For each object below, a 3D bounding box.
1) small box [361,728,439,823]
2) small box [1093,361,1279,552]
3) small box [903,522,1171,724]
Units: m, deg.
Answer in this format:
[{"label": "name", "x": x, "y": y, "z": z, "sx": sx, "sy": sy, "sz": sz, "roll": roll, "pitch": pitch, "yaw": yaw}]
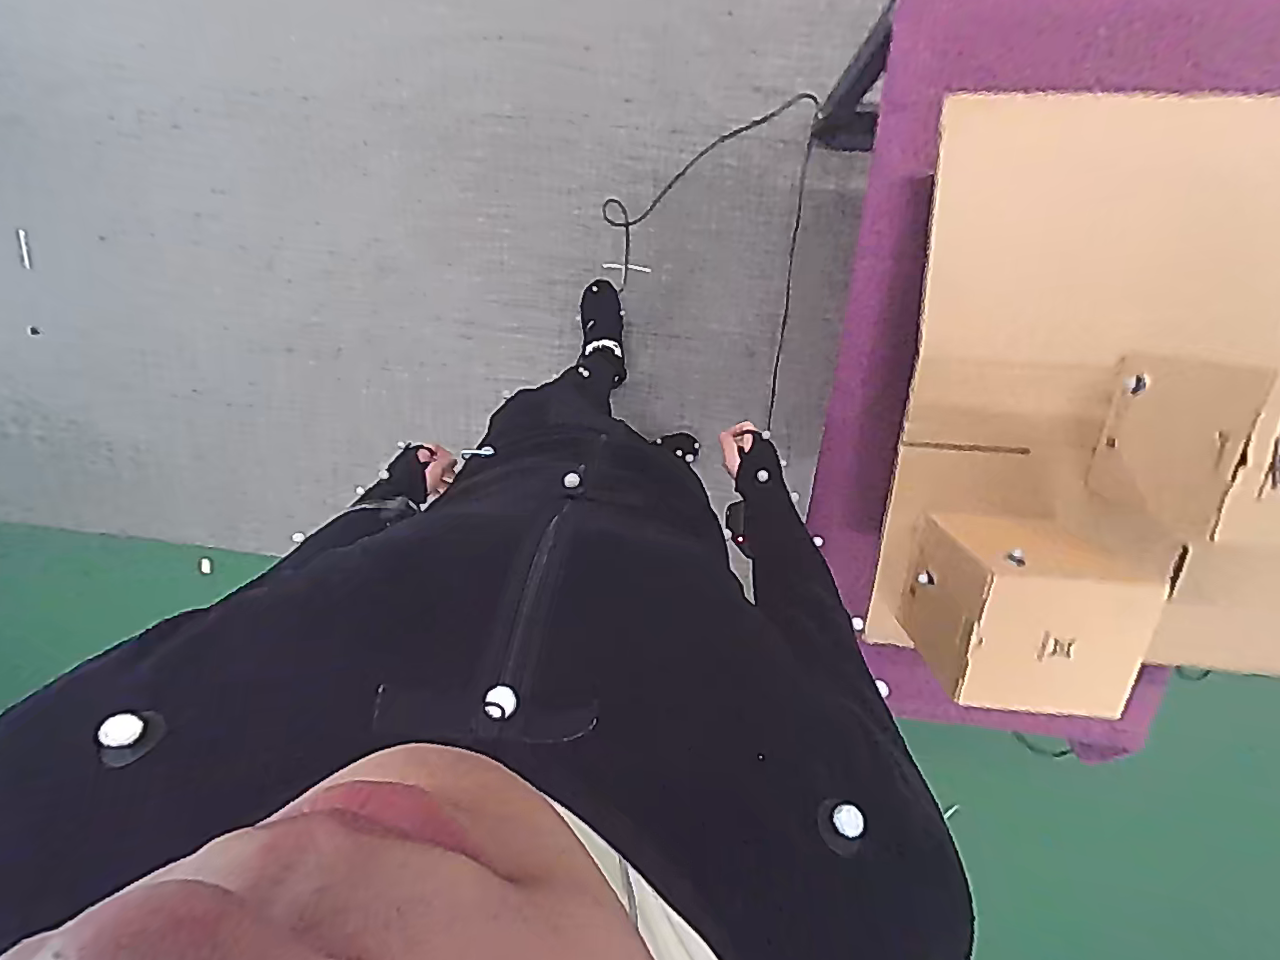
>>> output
[{"label": "small box", "x": -0.729, "y": 0.901, "z": 1.657, "sx": 0.168, "sy": 0.176, "sz": 0.179, "roll": 8, "pitch": 105, "yaw": 1}, {"label": "small box", "x": 0.637, "y": -0.031, "z": 0.567, "sx": 0.179, "sy": 0.176, "sz": 0.168, "roll": 3, "pitch": 108, "yaw": 2}, {"label": "small box", "x": 0.445, "y": 0.158, "z": 0.643, "sx": 0.179, "sy": 0.176, "sz": 0.168, "roll": 3, "pitch": 108, "yaw": 4}]
